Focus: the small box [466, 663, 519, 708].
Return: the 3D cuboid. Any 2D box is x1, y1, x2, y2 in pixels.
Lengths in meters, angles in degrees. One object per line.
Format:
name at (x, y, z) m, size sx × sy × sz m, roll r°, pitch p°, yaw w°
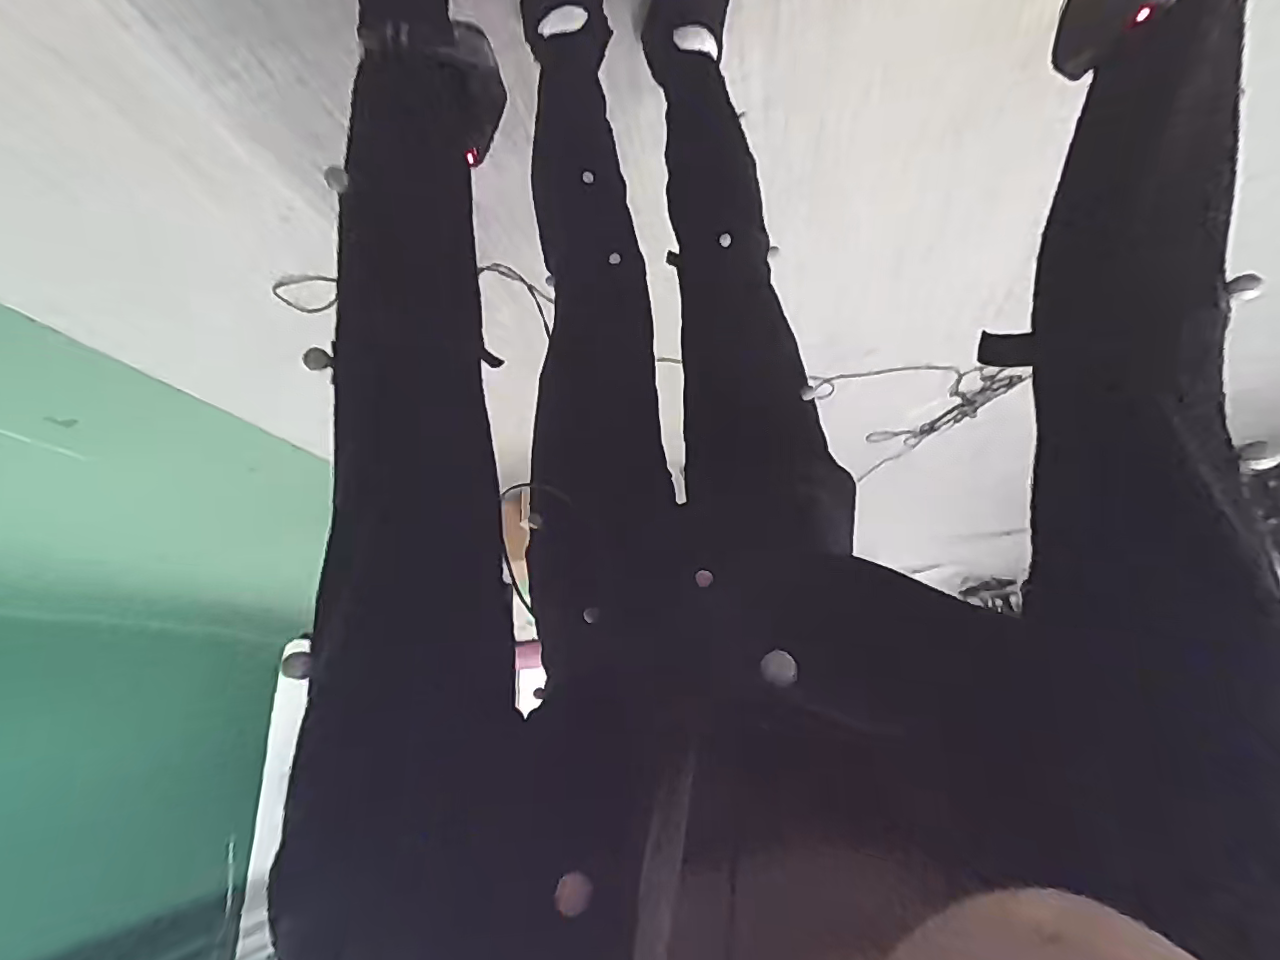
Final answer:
small box at (-0.637, 0.891, 2.348) m, size 0.168 × 0.176 × 0.179 m, roll -11°, pitch 158°, yaw 10°
